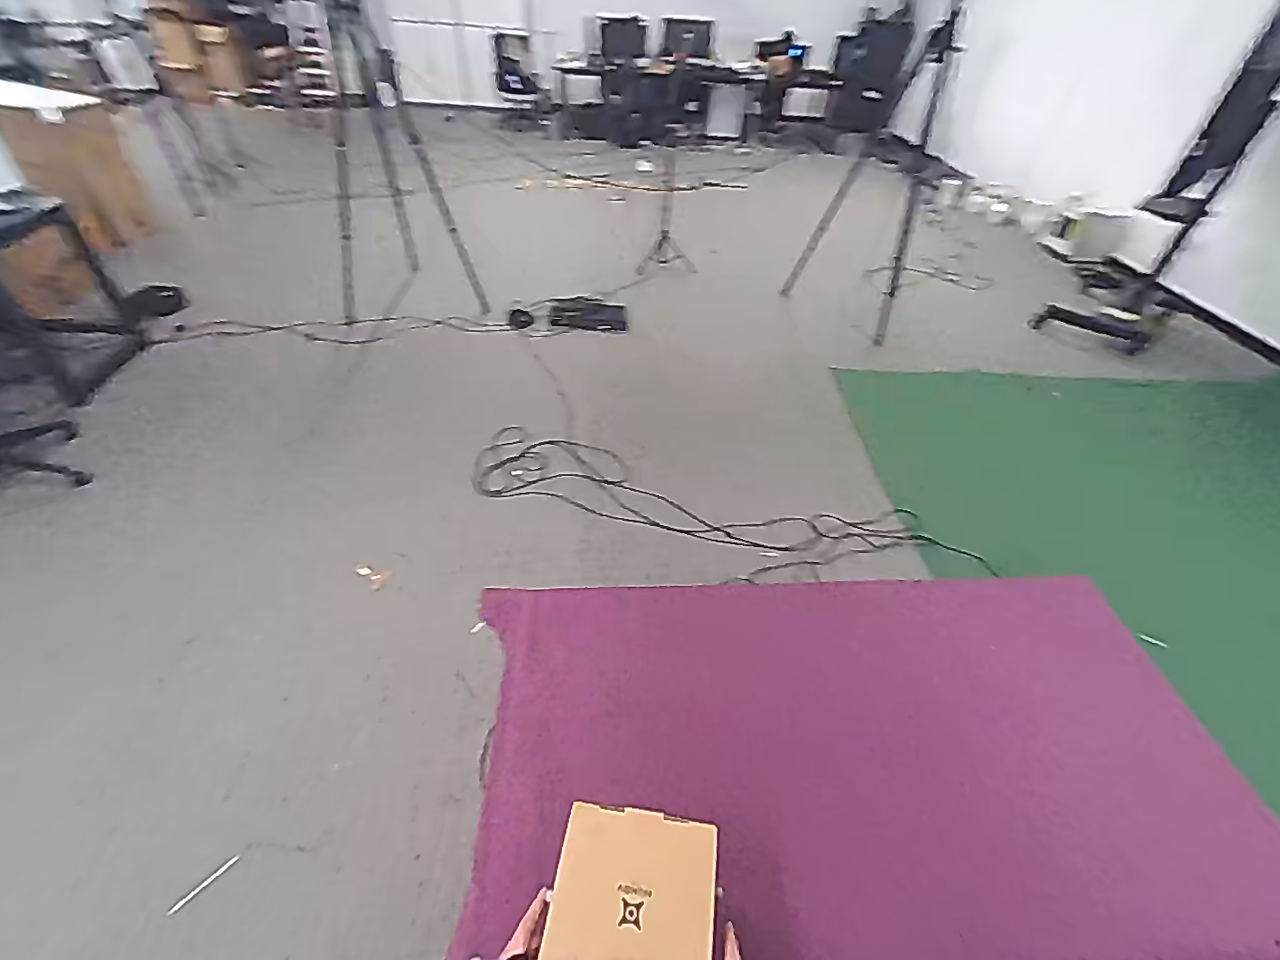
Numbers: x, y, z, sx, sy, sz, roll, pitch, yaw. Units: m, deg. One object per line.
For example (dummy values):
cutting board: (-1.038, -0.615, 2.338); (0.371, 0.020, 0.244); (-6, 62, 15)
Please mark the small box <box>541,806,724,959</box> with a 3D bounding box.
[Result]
small box: (-0.005, 0.492, 0.585); (0.168, 0.176, 0.179); (6, 41, 8)
